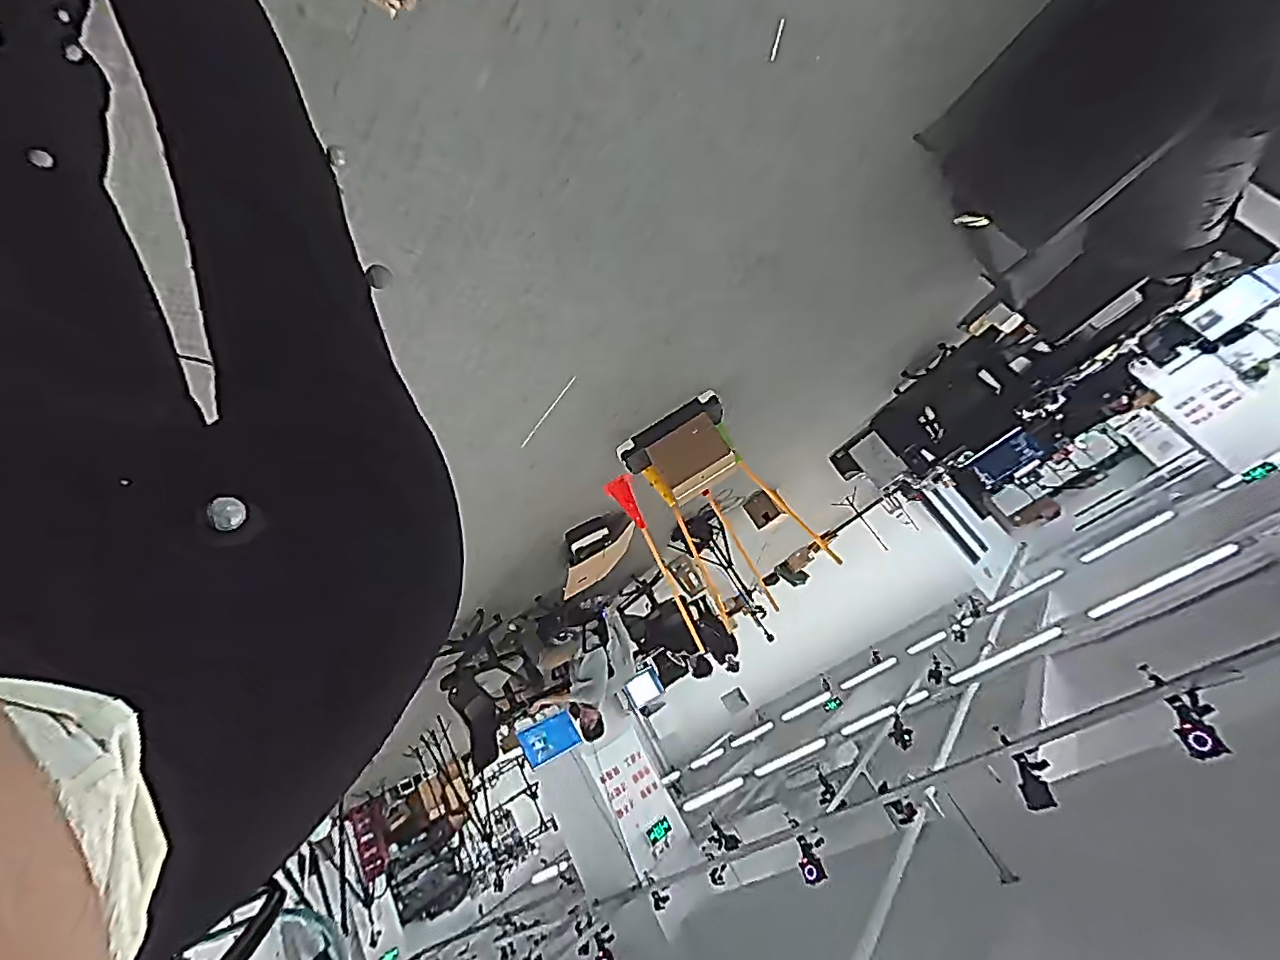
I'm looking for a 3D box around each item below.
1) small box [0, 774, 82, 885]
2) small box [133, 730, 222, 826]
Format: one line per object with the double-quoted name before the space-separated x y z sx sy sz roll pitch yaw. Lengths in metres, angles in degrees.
"small box" -1.525 0.873 1.348 0.179 0.176 0.168 -6 148 -48
"small box" -1.339 0.851 1.560 0.168 0.176 0.179 -6 148 -49
